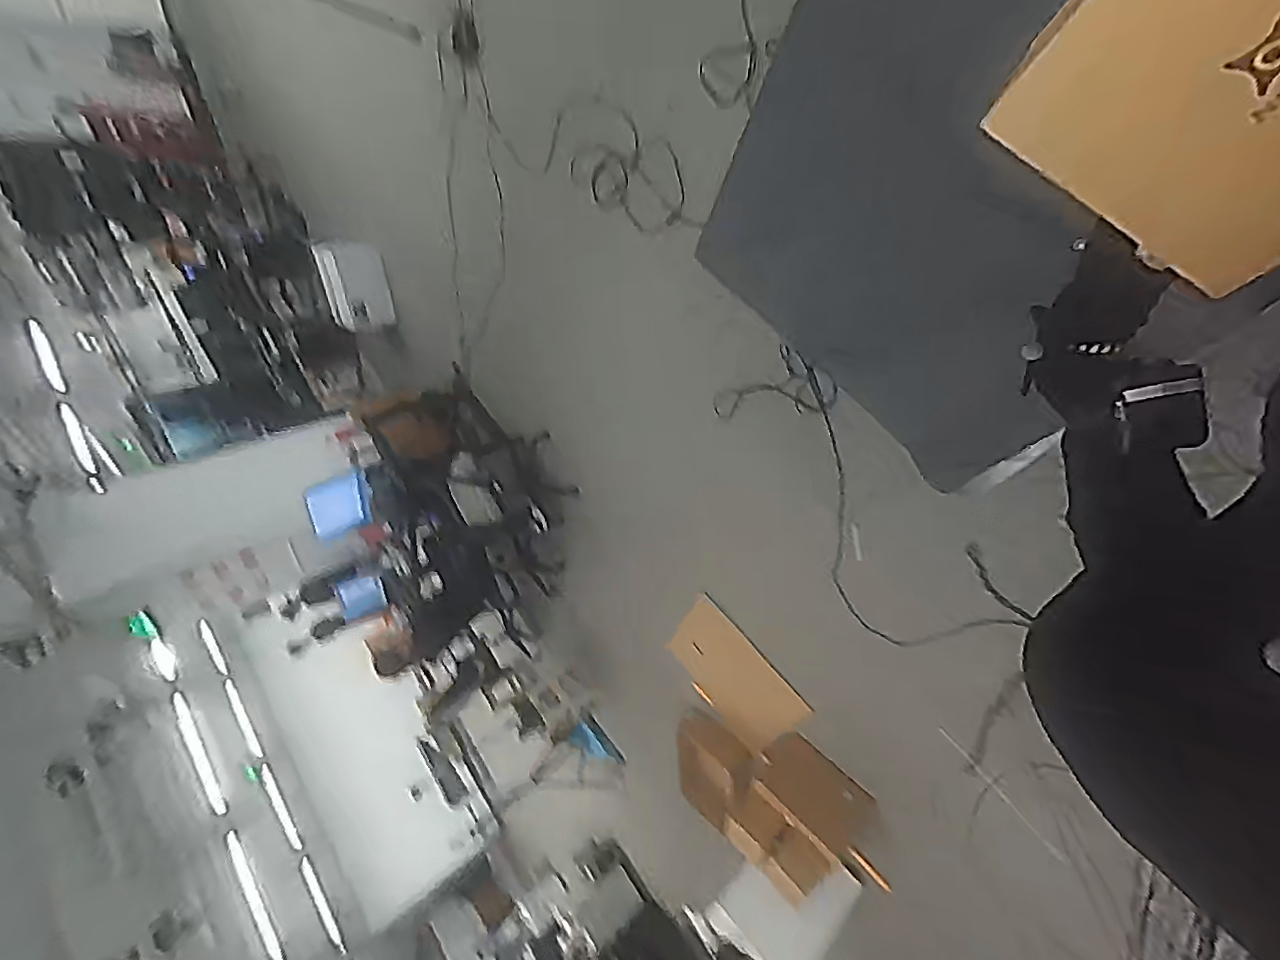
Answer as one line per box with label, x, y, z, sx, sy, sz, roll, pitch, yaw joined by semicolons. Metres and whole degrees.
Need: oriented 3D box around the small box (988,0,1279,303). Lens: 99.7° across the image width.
small box;0.339;-0.242;0.293;0.179;0.176;0.168;37;150;0
